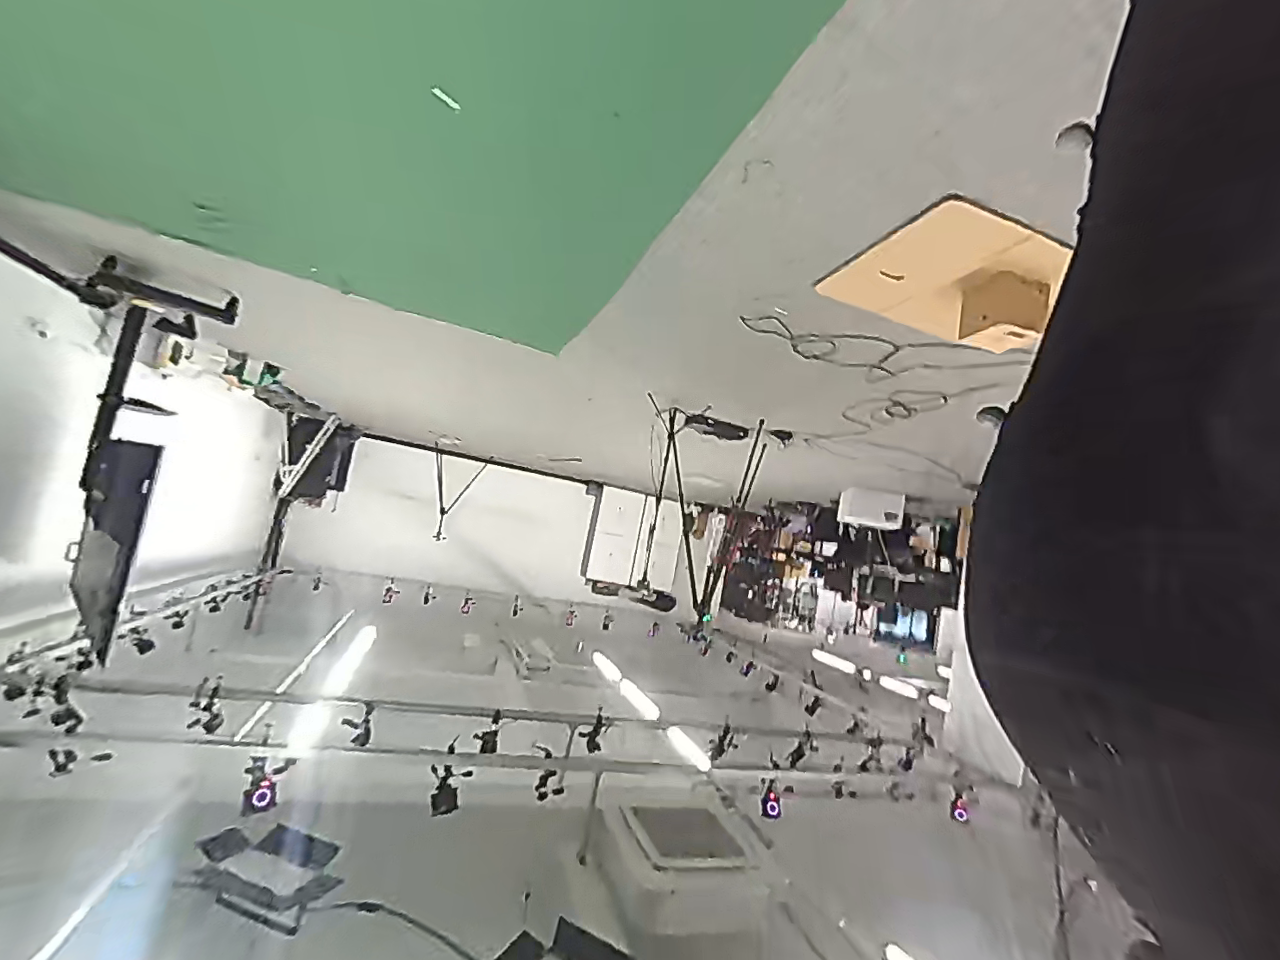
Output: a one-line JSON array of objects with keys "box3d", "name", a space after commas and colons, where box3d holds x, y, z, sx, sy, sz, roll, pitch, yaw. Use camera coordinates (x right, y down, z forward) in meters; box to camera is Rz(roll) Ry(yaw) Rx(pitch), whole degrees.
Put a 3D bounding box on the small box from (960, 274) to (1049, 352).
[{"box3d": [1.157, -0.529, 1.715, 0.168, 0.176, 0.179, 11, 174, -11], "name": "small box"}]
